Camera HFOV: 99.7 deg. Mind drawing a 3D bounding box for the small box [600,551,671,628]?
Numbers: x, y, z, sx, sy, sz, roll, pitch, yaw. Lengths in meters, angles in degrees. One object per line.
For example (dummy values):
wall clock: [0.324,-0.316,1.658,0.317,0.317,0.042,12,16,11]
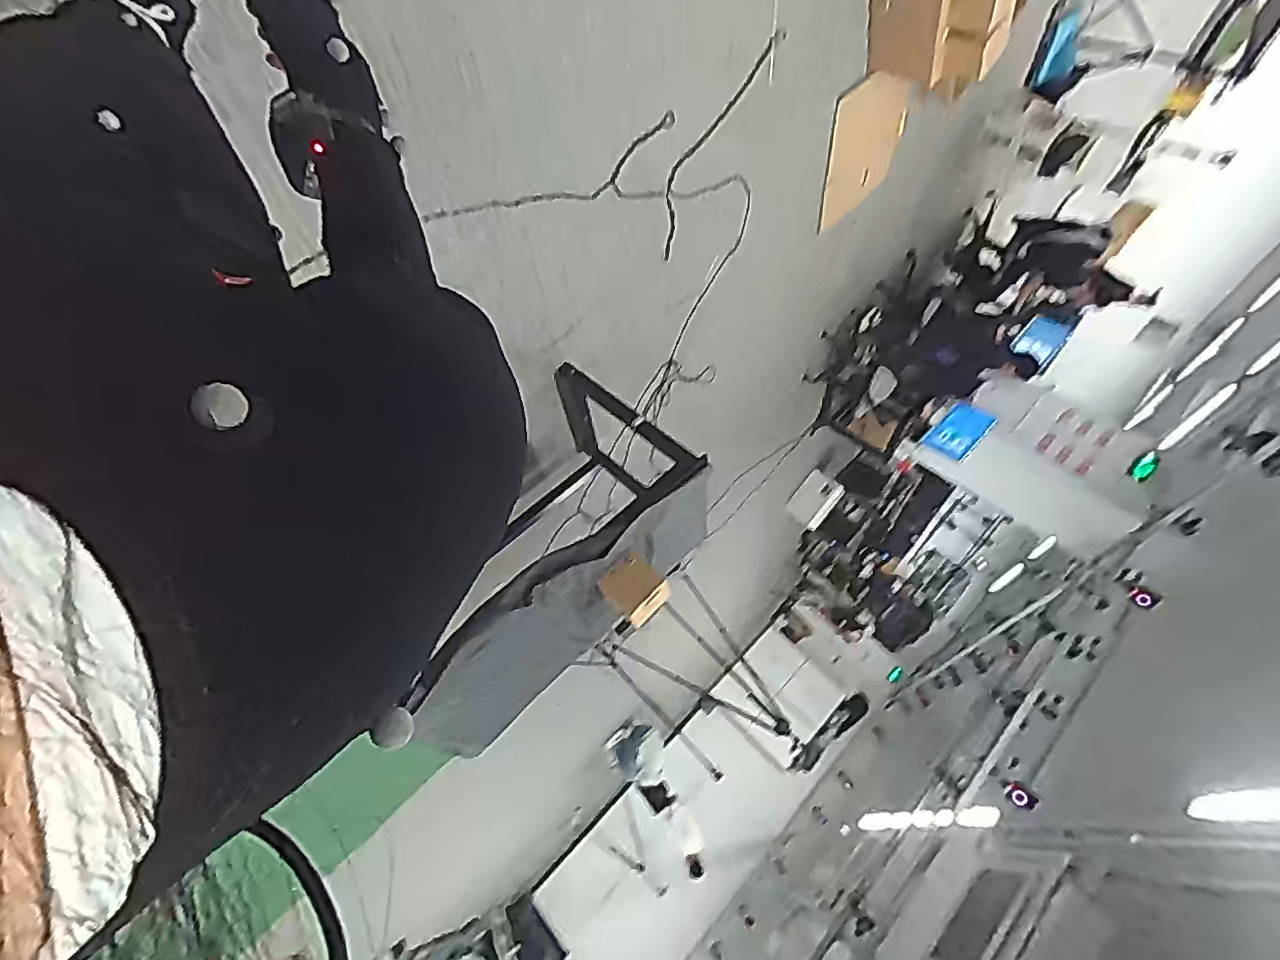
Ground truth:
small box: [-0.015,0.368,1.839,0.168,0.176,0.179,-43,153,-15]
